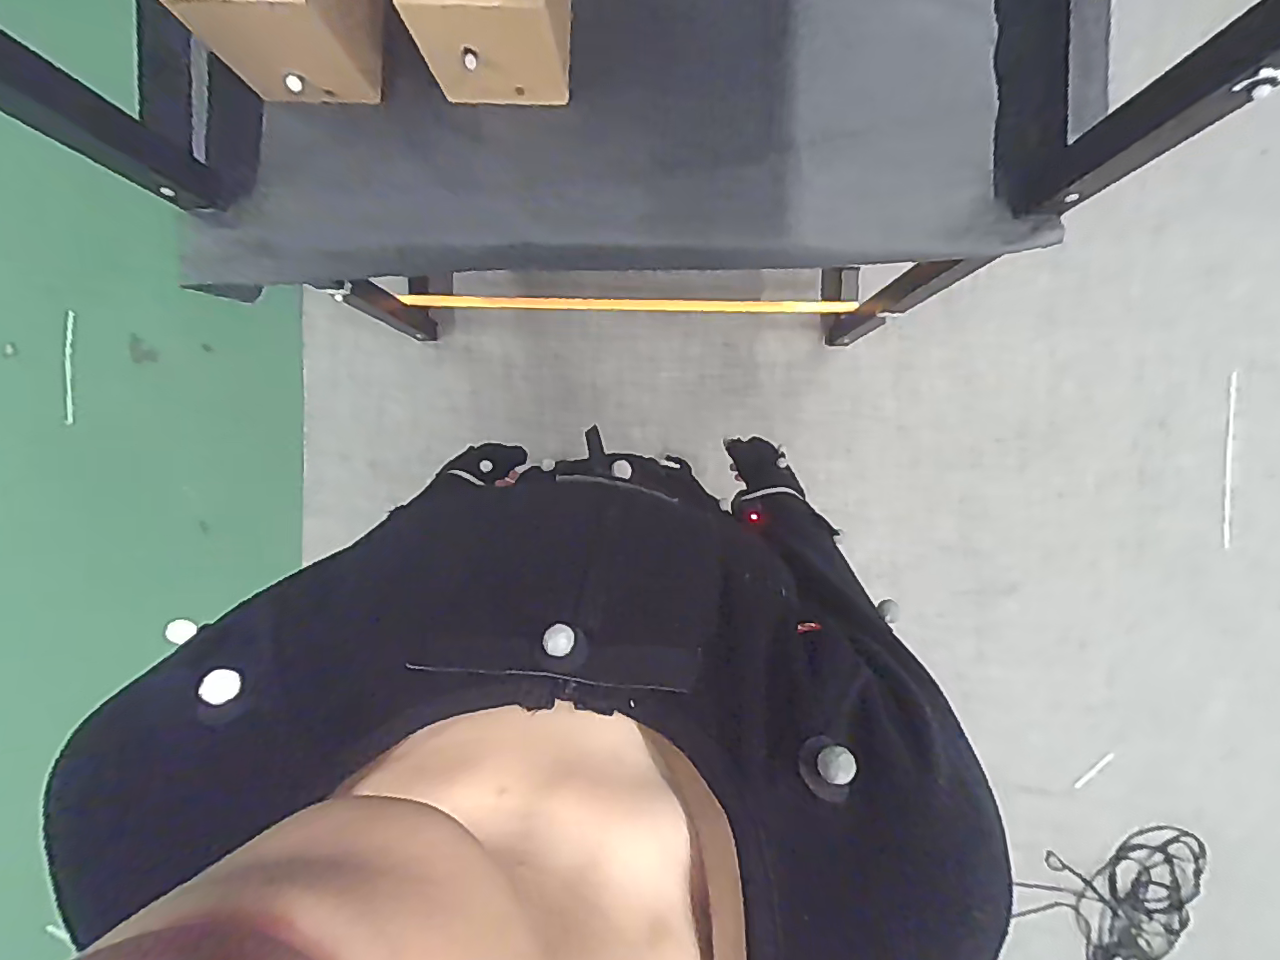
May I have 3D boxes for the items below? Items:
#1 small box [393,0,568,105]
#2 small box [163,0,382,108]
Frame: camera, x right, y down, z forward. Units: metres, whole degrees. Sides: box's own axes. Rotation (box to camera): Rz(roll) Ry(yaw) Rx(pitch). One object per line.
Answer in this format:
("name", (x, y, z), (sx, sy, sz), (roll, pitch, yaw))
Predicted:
("small box", (-0.182, -0.595, 0.660), (0.168, 0.176, 0.179), (2, 92, 0))
("small box", (-0.435, -0.601, 0.660), (0.168, 0.176, 0.179), (2, 92, 1))
